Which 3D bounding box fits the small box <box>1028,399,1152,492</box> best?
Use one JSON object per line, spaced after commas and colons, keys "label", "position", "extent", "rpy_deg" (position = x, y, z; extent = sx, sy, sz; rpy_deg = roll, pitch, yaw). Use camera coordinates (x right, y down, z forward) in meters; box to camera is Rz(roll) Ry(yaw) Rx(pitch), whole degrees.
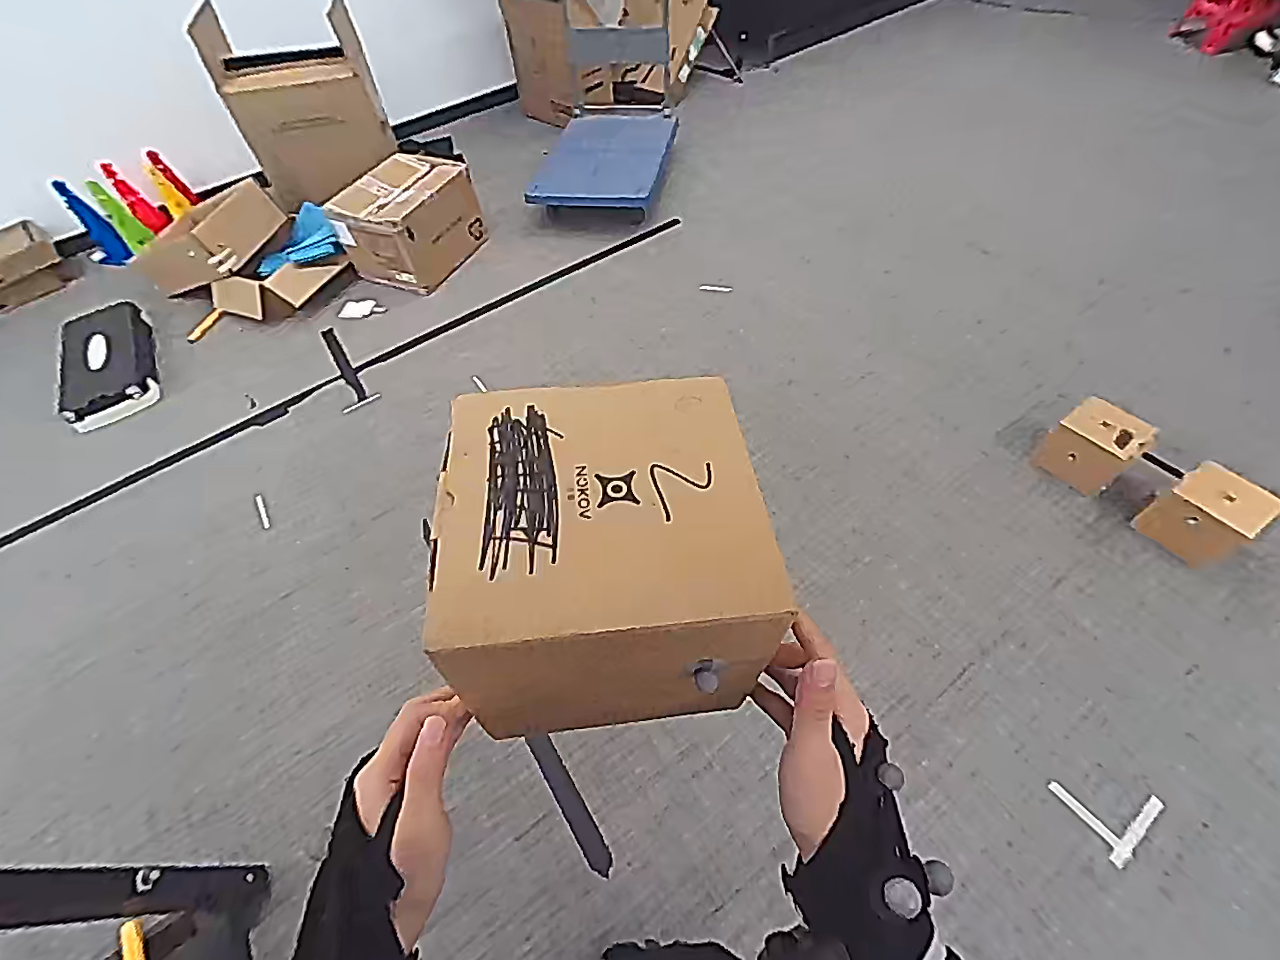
{"label": "small box", "position": [1.258, -0.090, 1.524], "extent": [0.168, 0.176, 0.179], "rpy_deg": [-32, 56, -16]}

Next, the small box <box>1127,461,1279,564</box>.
{"label": "small box", "position": [1.421, 0.091, 1.377], "extent": [0.168, 0.176, 0.179], "rpy_deg": [-31, 56, -15]}
